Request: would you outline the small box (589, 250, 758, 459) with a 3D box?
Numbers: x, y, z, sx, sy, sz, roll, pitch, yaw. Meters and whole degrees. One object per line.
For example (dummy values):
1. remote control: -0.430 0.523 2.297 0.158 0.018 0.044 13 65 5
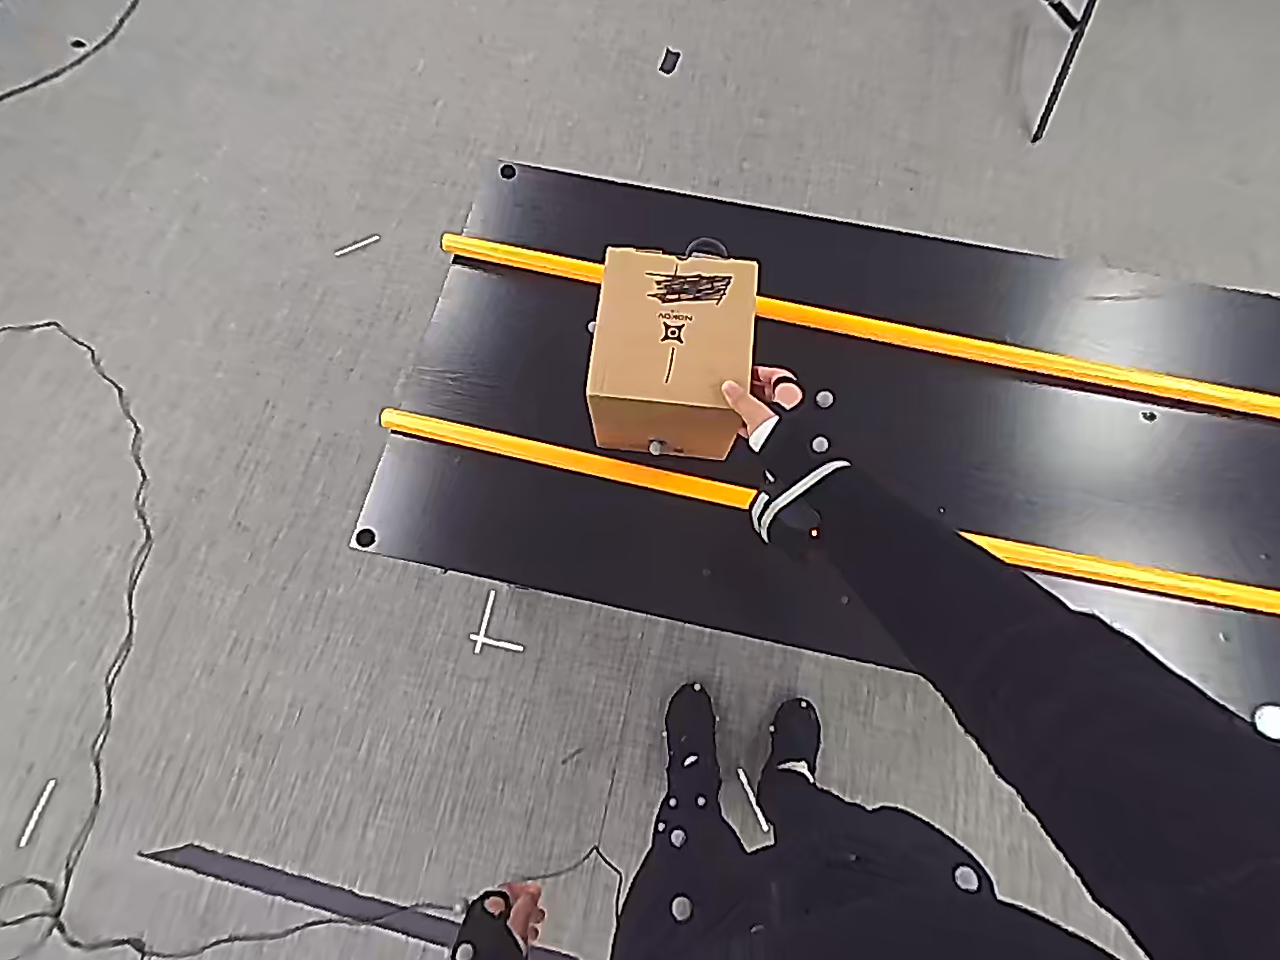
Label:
1. small box: 0.037 -0.139 0.644 0.168 0.176 0.179 6 75 2
